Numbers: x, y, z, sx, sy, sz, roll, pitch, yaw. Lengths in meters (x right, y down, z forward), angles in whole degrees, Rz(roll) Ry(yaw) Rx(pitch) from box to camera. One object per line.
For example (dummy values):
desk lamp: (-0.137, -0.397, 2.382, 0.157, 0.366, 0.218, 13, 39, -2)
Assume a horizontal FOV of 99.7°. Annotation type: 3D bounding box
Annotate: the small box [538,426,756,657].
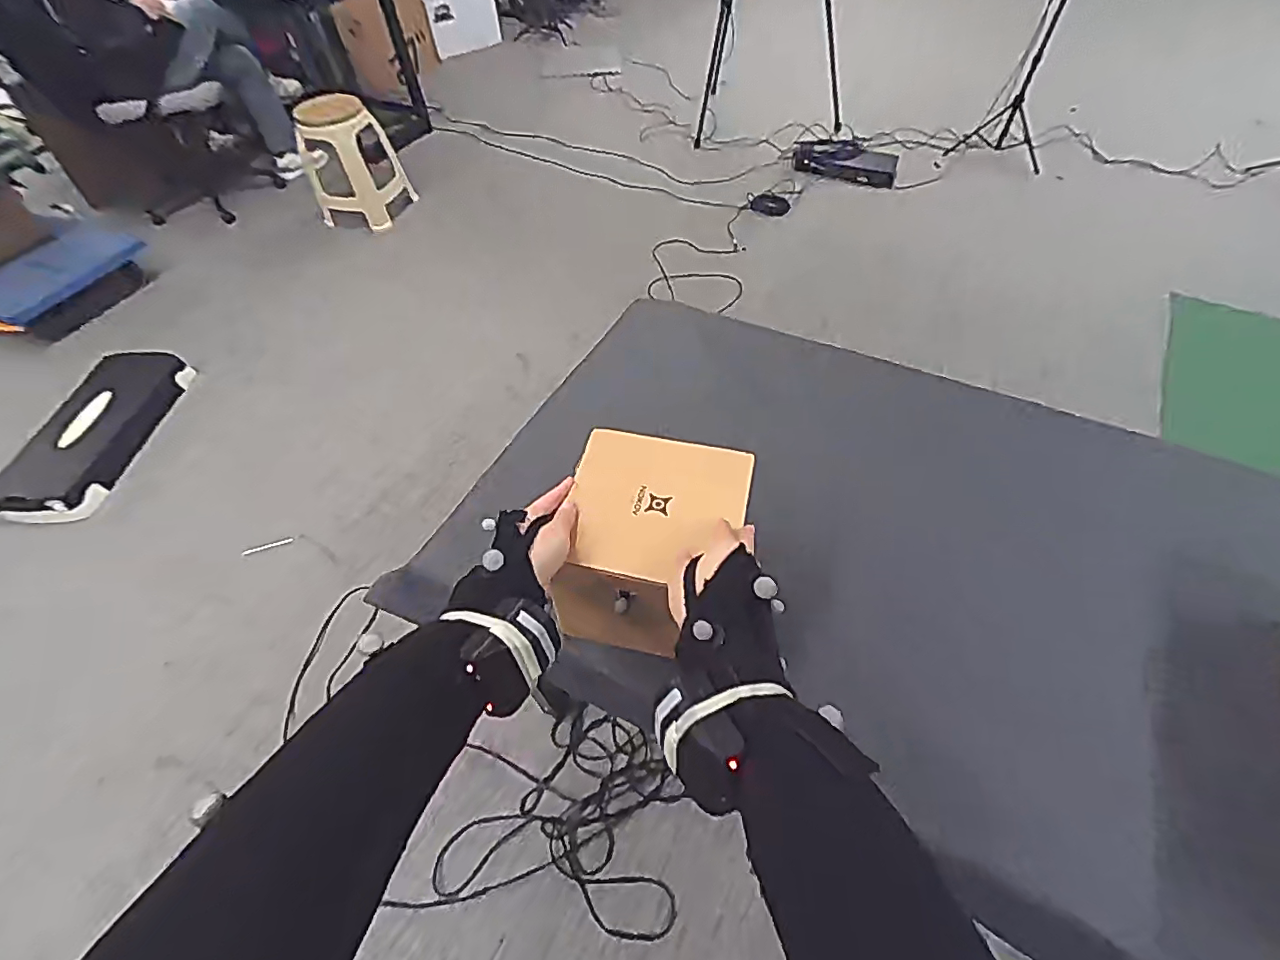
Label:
small box: (0.016, 0.070, 0.574, 0.179, 0.176, 0.168, 10, 53, 11)
